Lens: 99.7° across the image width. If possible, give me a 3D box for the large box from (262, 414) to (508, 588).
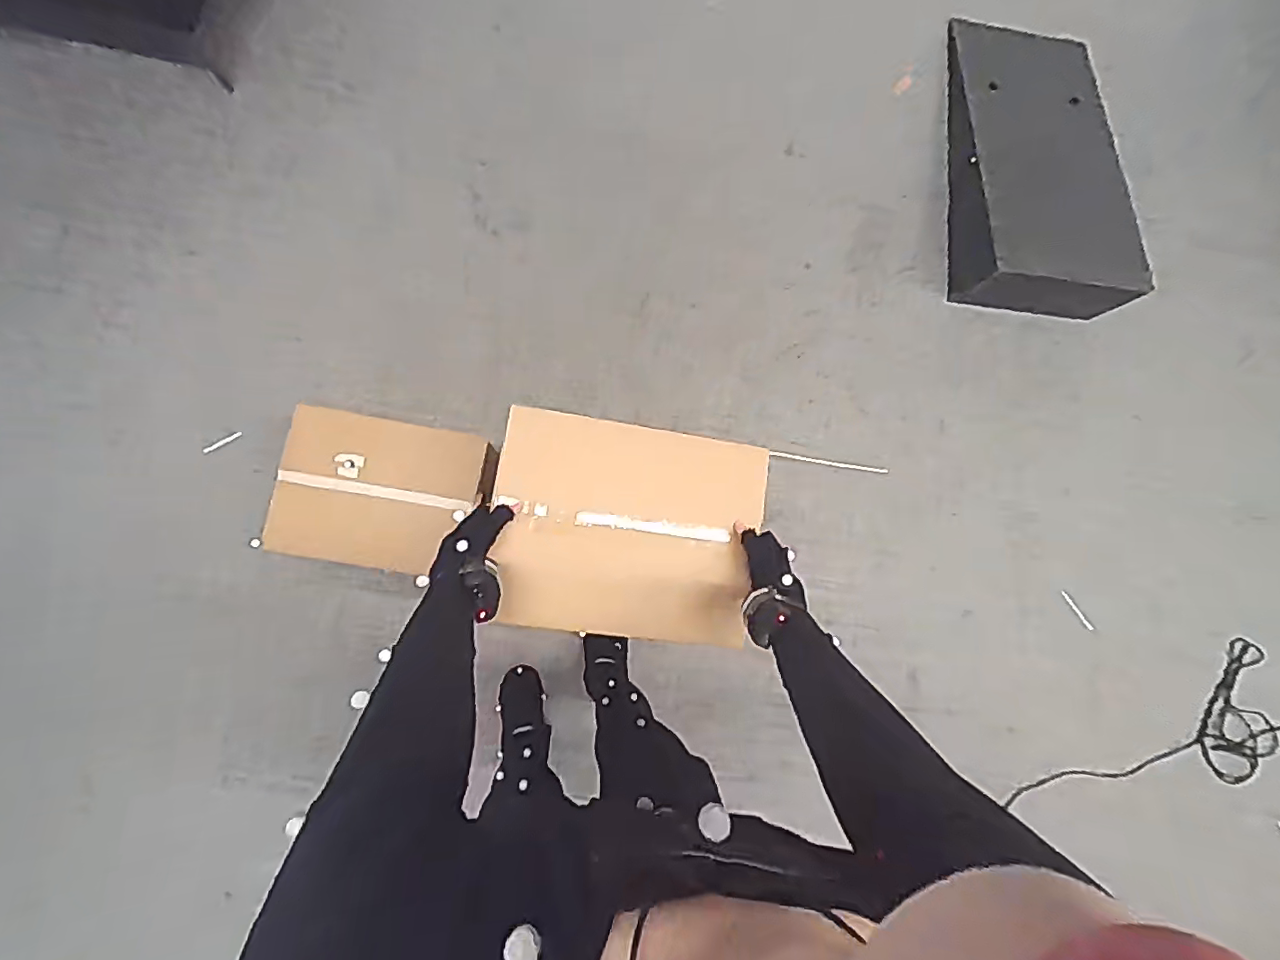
[{"bbox_3d":[-0.553,0.060,1.263,0.408,0.320,0.320,10,81,-3],"label":"large box"}]
